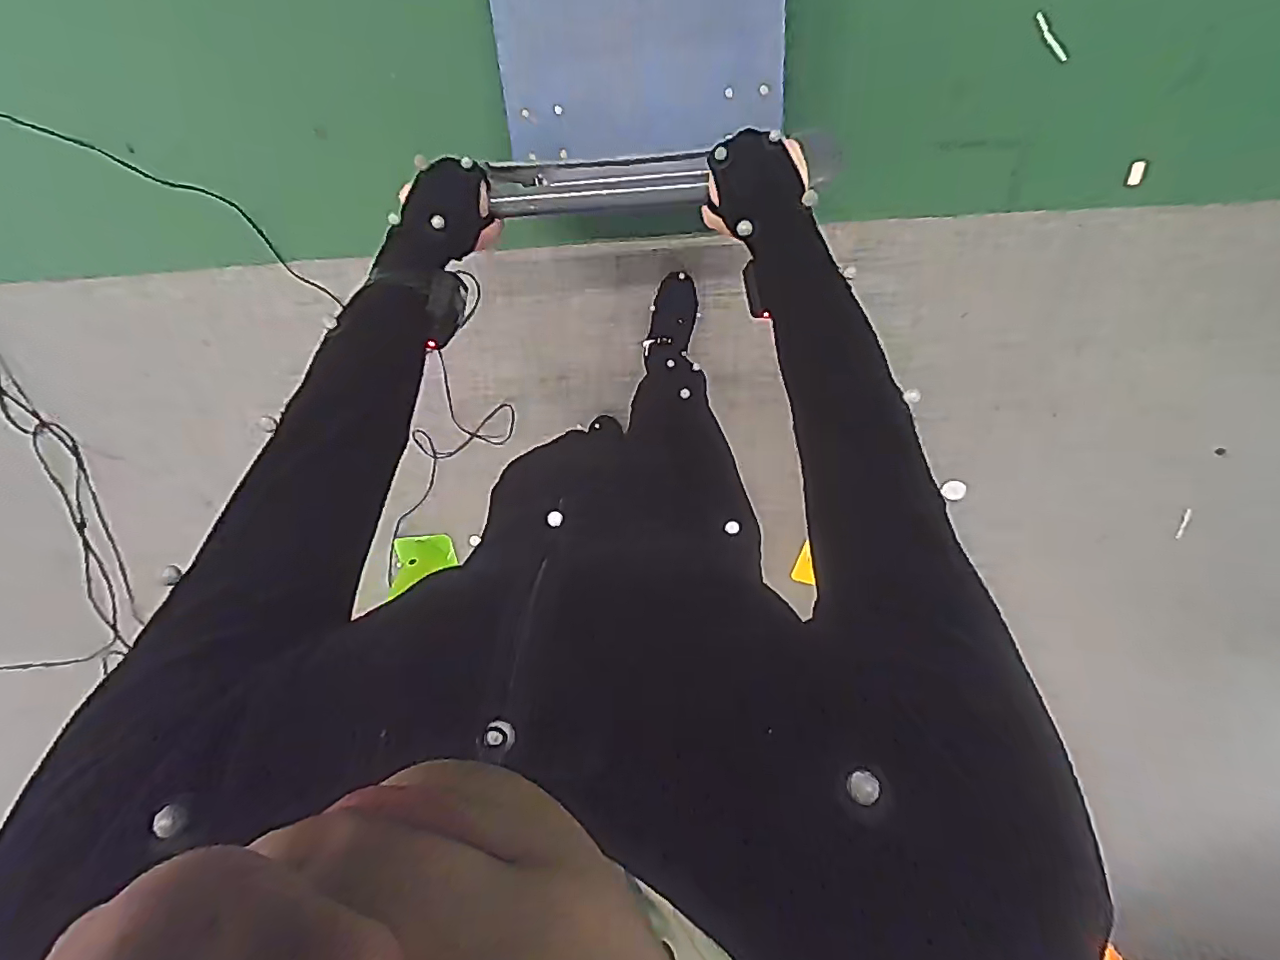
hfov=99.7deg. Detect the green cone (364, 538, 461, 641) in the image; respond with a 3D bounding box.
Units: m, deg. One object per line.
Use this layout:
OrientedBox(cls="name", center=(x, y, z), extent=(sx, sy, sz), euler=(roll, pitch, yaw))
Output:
OrientedBox(cls="green cone", center=(-0.733, 0.356, 1.669), extent=(0.202, 0.368, 0.200), euler=(-5, 114, 8))
